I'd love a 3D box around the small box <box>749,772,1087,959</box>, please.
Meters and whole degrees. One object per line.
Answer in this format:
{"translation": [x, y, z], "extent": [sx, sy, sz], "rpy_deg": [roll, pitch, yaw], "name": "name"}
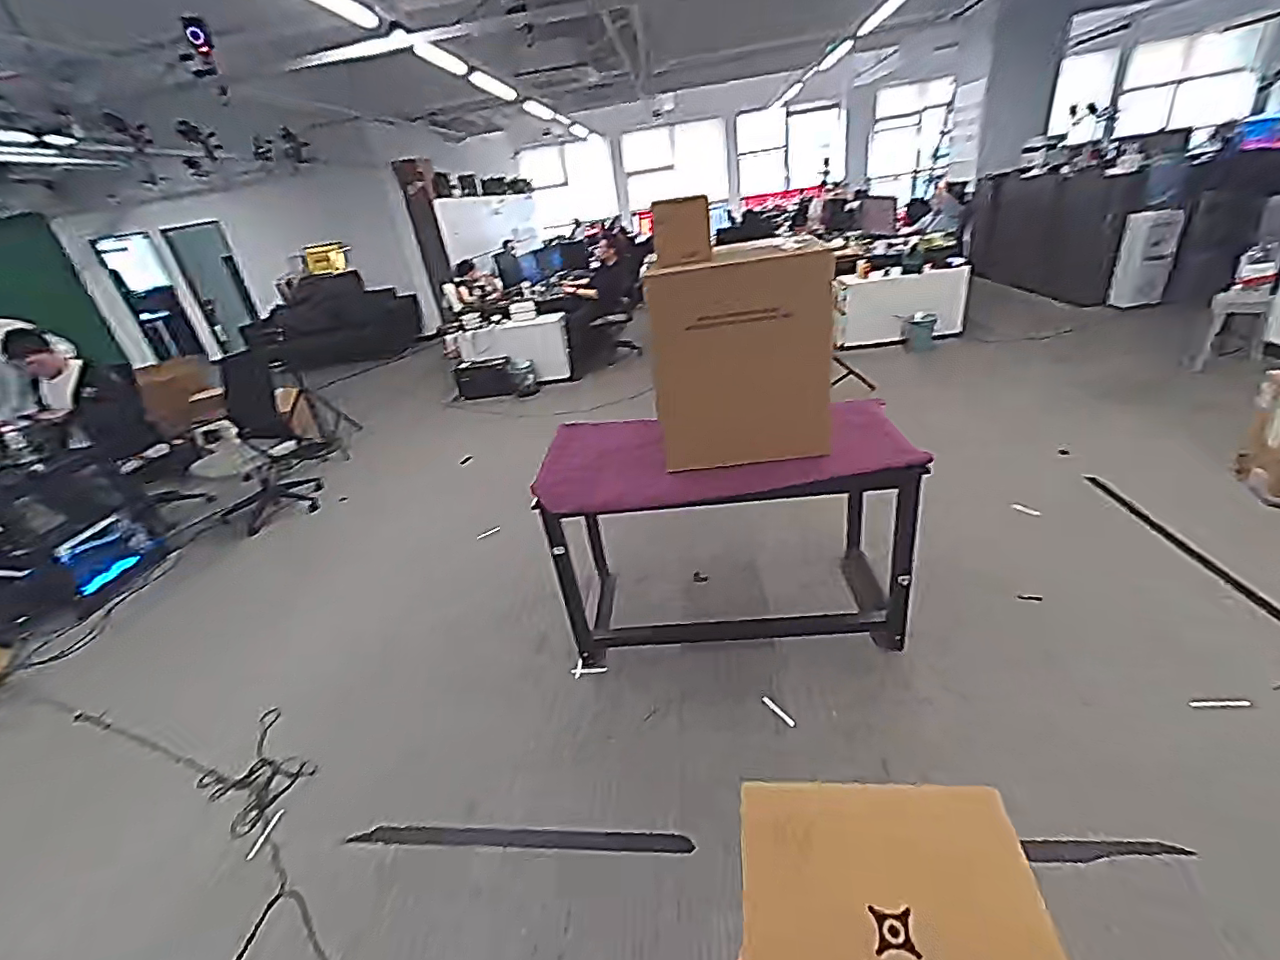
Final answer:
{"translation": [0.157, 0.310, 0.329], "extent": [0.168, 0.176, 0.179], "rpy_deg": [-7, 30, 12], "name": "small box"}
